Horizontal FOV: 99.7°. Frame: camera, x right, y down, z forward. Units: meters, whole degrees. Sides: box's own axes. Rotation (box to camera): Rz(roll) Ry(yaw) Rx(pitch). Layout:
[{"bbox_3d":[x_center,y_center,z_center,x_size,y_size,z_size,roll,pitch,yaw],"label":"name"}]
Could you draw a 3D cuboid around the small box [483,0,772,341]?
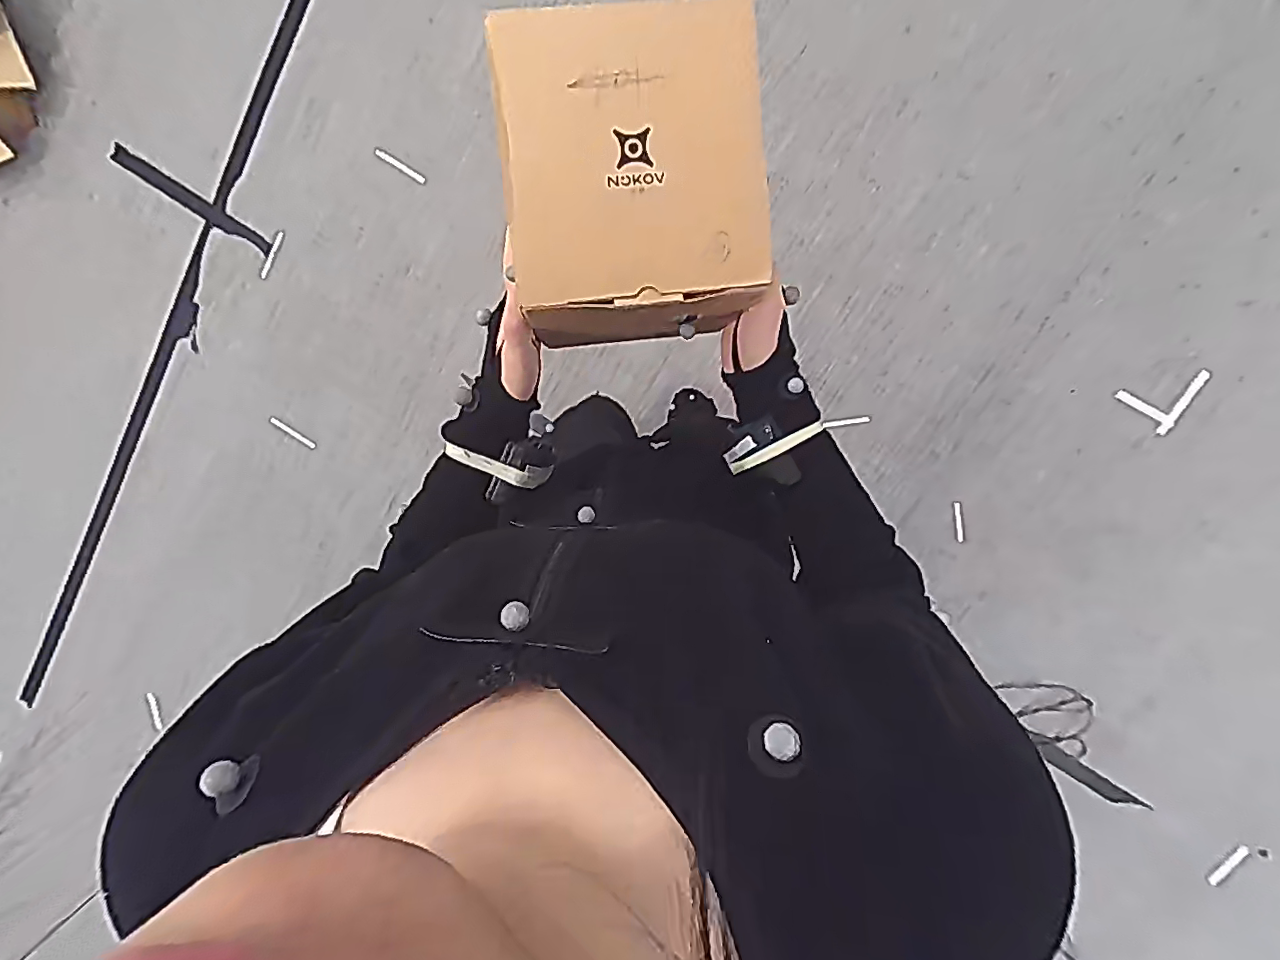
[{"bbox_3d":[-0.009,-0.207,0.411,0.168,0.176,0.179,-7,95,-4],"label":"small box"}]
